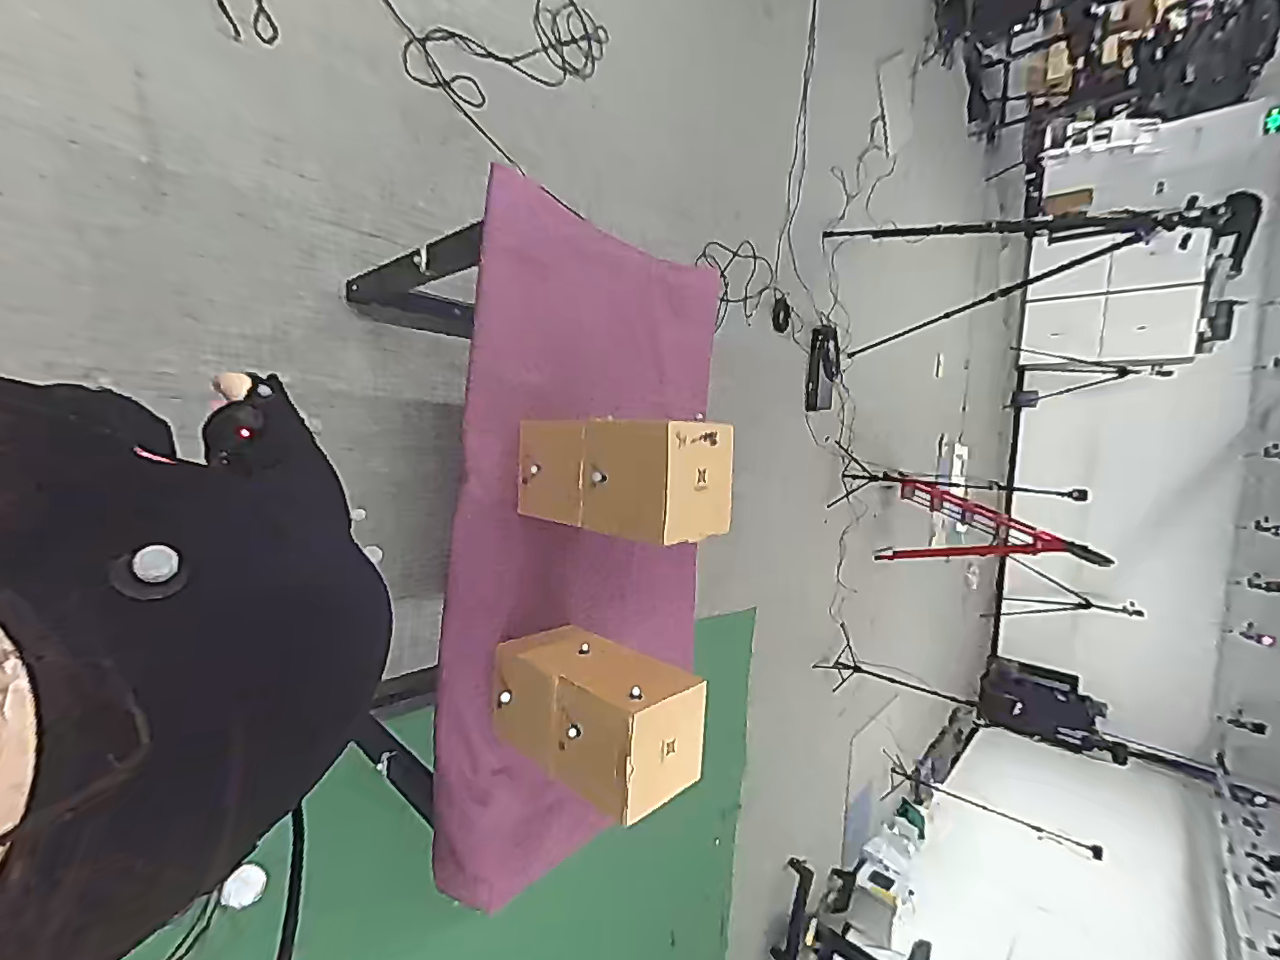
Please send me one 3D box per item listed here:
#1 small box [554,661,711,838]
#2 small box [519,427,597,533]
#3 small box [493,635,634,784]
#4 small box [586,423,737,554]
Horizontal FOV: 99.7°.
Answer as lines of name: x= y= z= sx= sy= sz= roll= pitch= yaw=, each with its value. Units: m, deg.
small box: x=-0.012 y=0.400 z=0.845 sx=0.179 sy=0.176 sz=0.168 roll=0 pitch=95 yaw=-47
small box: x=-0.090 y=-0.006 z=0.951 sx=0.179 sy=0.176 sz=0.168 roll=-2 pitch=96 yaw=-48
small box: x=-0.134 y=0.386 z=0.951 sx=0.179 sy=0.176 sz=0.168 roll=0 pitch=94 yaw=-47
small box: x=0.031 y=0.005 z=0.840 sx=0.168 sy=0.176 sz=0.179 roll=-3 pitch=97 yaw=-49
